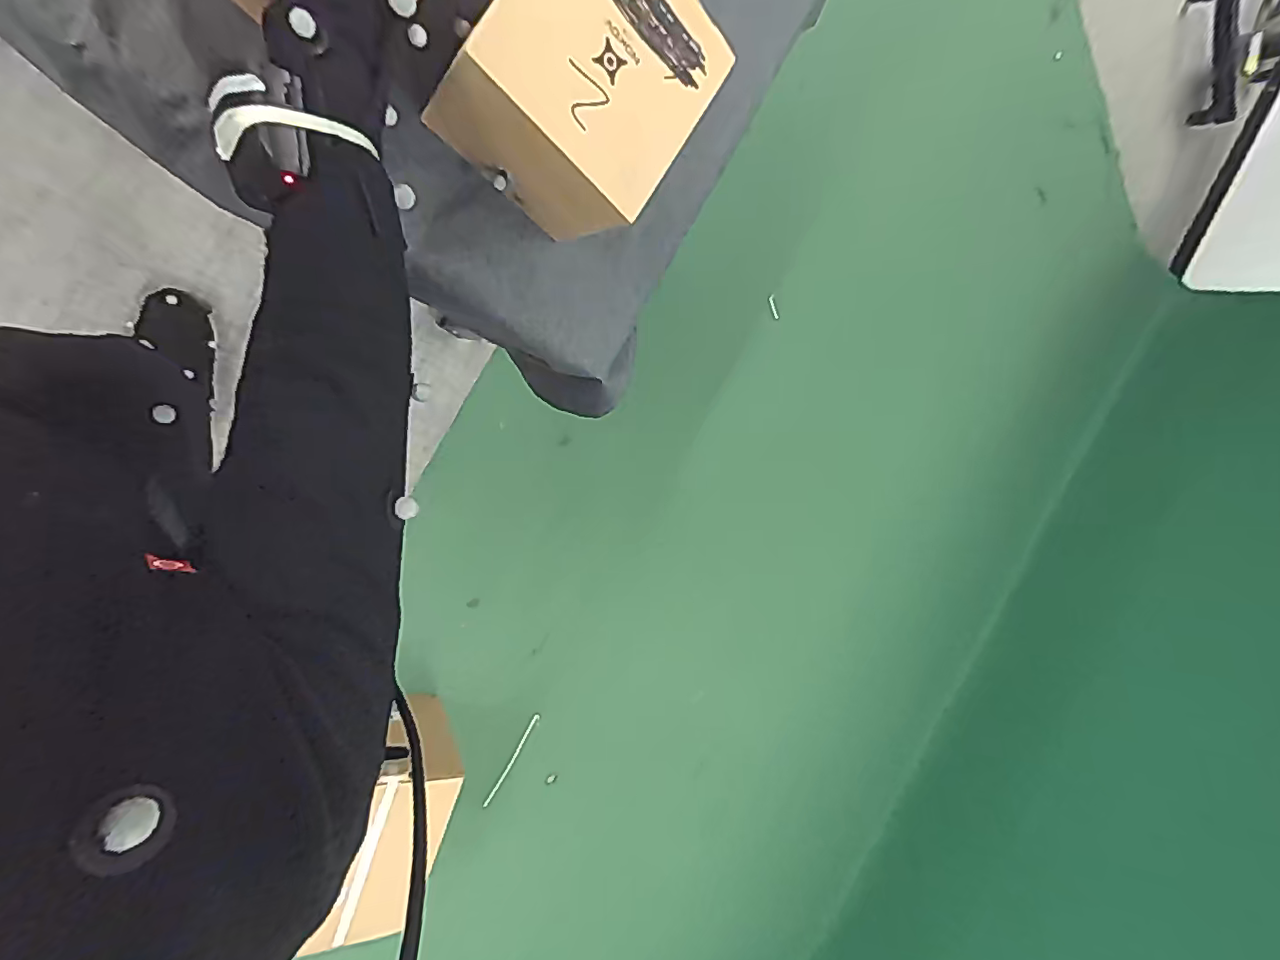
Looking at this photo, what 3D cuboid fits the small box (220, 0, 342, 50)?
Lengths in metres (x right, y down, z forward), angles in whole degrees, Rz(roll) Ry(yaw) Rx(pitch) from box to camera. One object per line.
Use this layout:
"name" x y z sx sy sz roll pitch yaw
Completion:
"small box" -0.255 -0.427 0.331 0.179 0.176 0.168 37 83 -35
